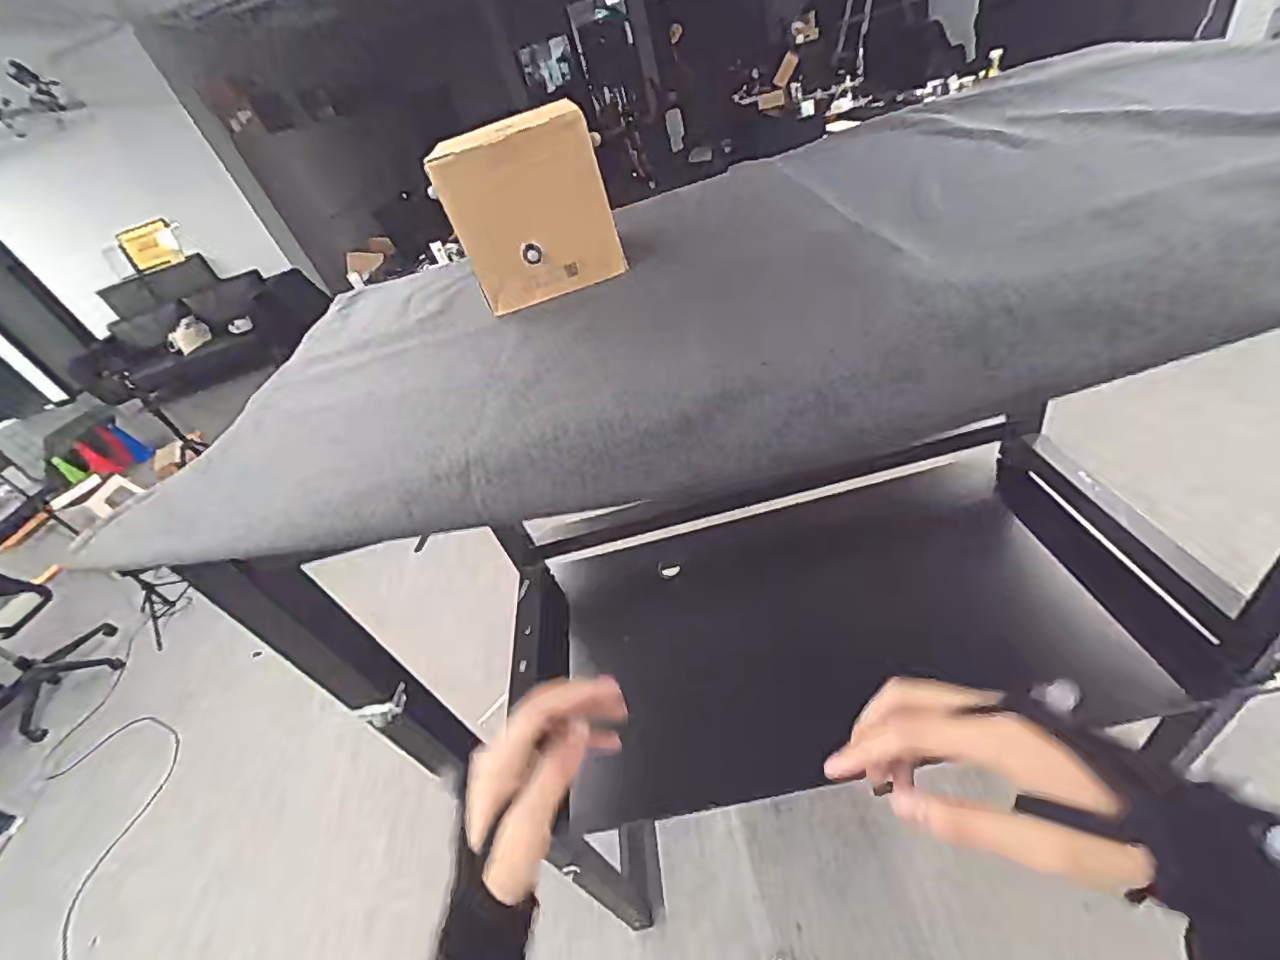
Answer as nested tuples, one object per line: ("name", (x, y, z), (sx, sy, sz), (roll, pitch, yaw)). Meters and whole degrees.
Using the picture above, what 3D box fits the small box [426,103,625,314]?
("small box", (-0.127, -0.320, 0.641), (0.168, 0.176, 0.179), (-19, 39, 1))
